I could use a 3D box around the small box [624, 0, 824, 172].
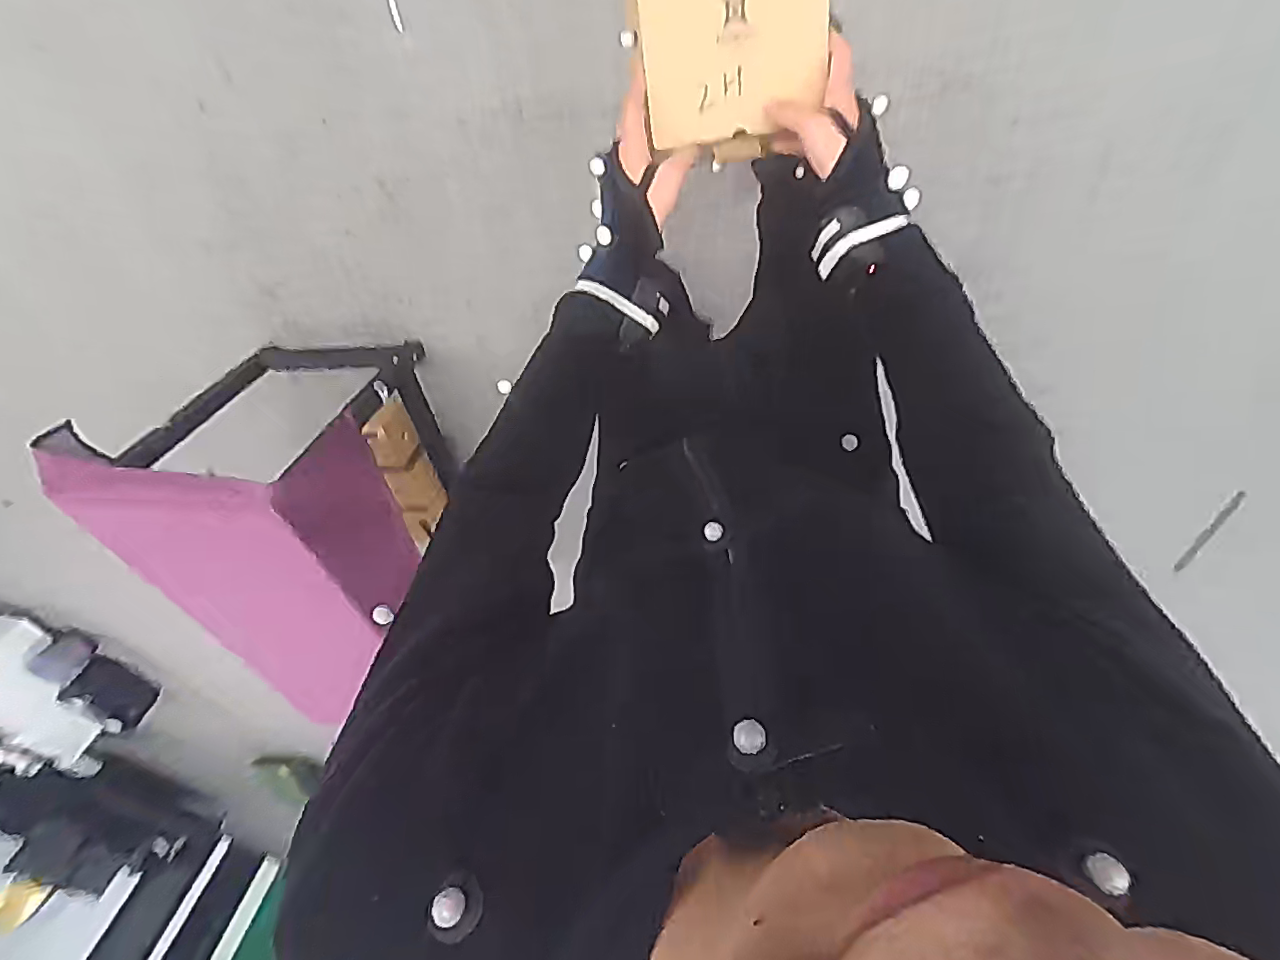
[{"bbox_3d":[0.076,-0.428,0.545,0.168,0.176,0.179,-8,115,1],"label":"small box"}]
